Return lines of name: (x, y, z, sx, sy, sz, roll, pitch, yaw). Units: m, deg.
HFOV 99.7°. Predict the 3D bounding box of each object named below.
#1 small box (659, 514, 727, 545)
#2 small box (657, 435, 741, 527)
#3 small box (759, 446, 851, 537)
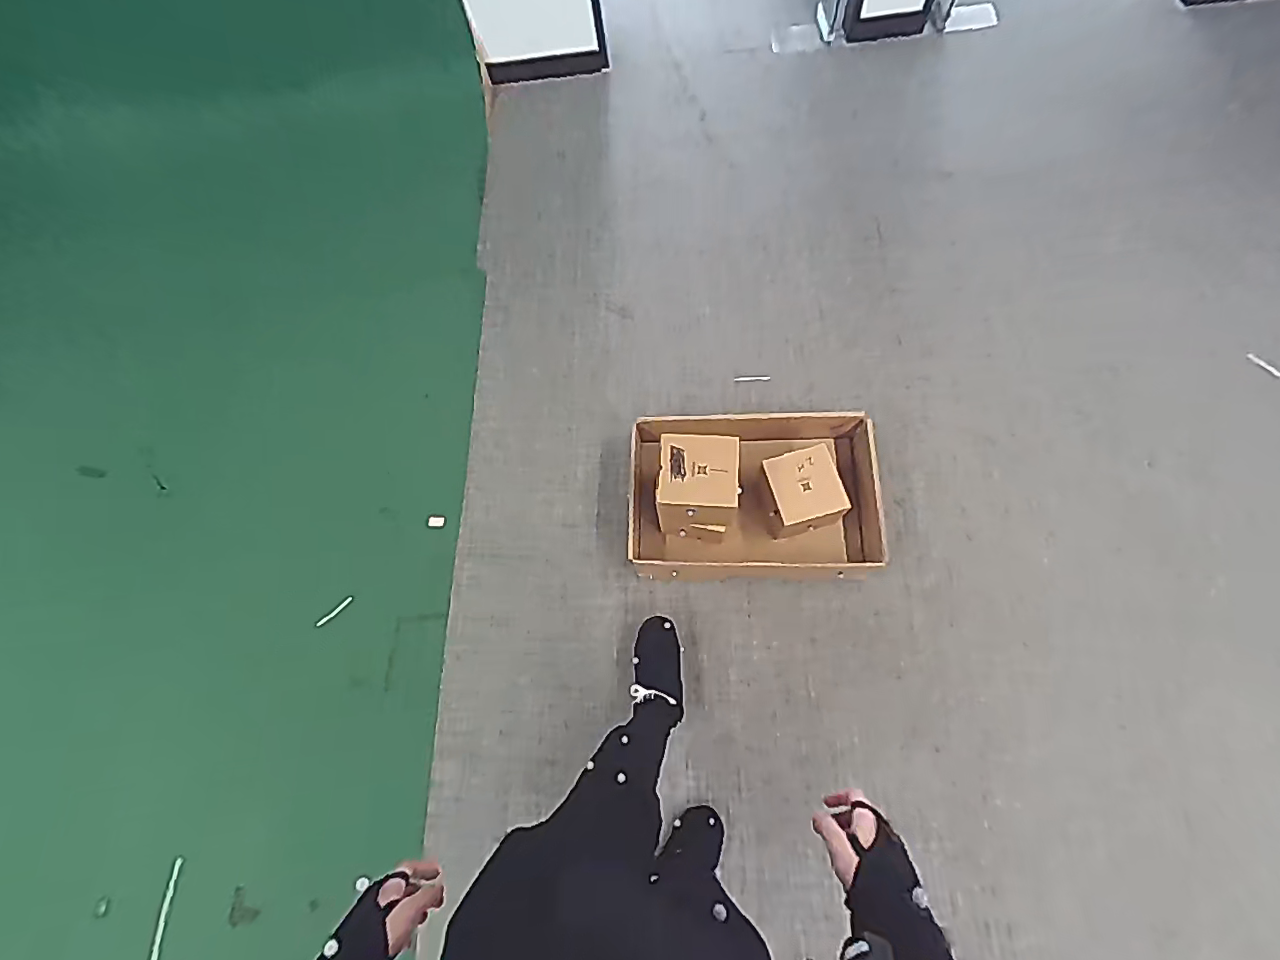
small box: (0.151, 0.060, 1.402, 0.168, 0.176, 0.179, 10, 71, 9)
small box: (0.136, 0.007, 1.248, 0.179, 0.176, 0.168, 3, 71, 5)
small box: (0.412, 0.039, 1.380, 0.168, 0.176, 0.179, -16, 70, 1)
